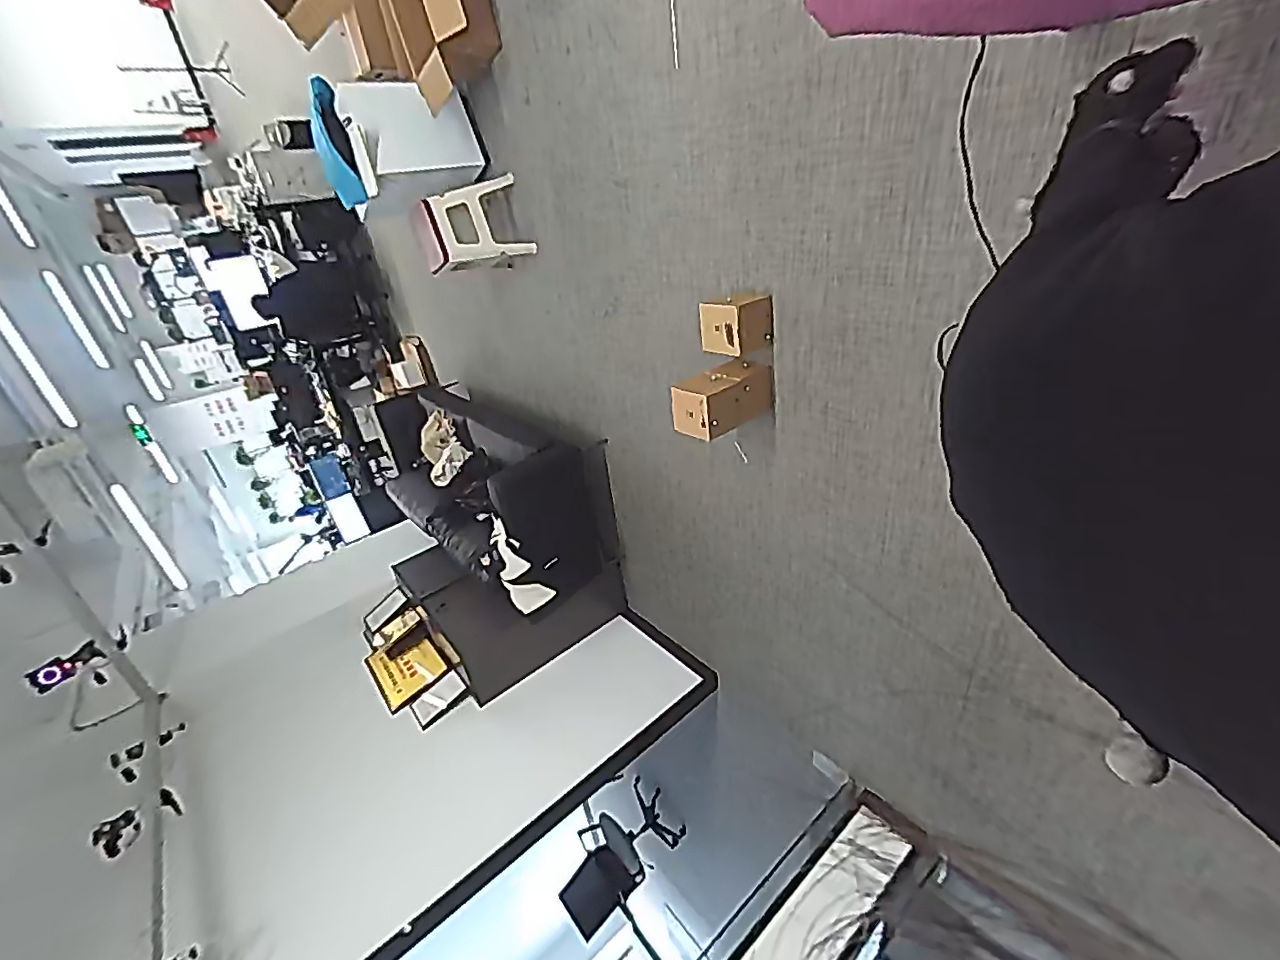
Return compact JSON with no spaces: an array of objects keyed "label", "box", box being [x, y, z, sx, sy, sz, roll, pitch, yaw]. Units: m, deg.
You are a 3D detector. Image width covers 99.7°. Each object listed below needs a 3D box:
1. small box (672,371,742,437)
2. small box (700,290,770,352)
[{"label":"small box","box":[0.234,-0.270,1.879,0.179,0.176,0.168,27,134,46]},{"label":"small box","box":[0.330,-0.547,1.844,0.179,0.176,0.168,26,132,46]}]
